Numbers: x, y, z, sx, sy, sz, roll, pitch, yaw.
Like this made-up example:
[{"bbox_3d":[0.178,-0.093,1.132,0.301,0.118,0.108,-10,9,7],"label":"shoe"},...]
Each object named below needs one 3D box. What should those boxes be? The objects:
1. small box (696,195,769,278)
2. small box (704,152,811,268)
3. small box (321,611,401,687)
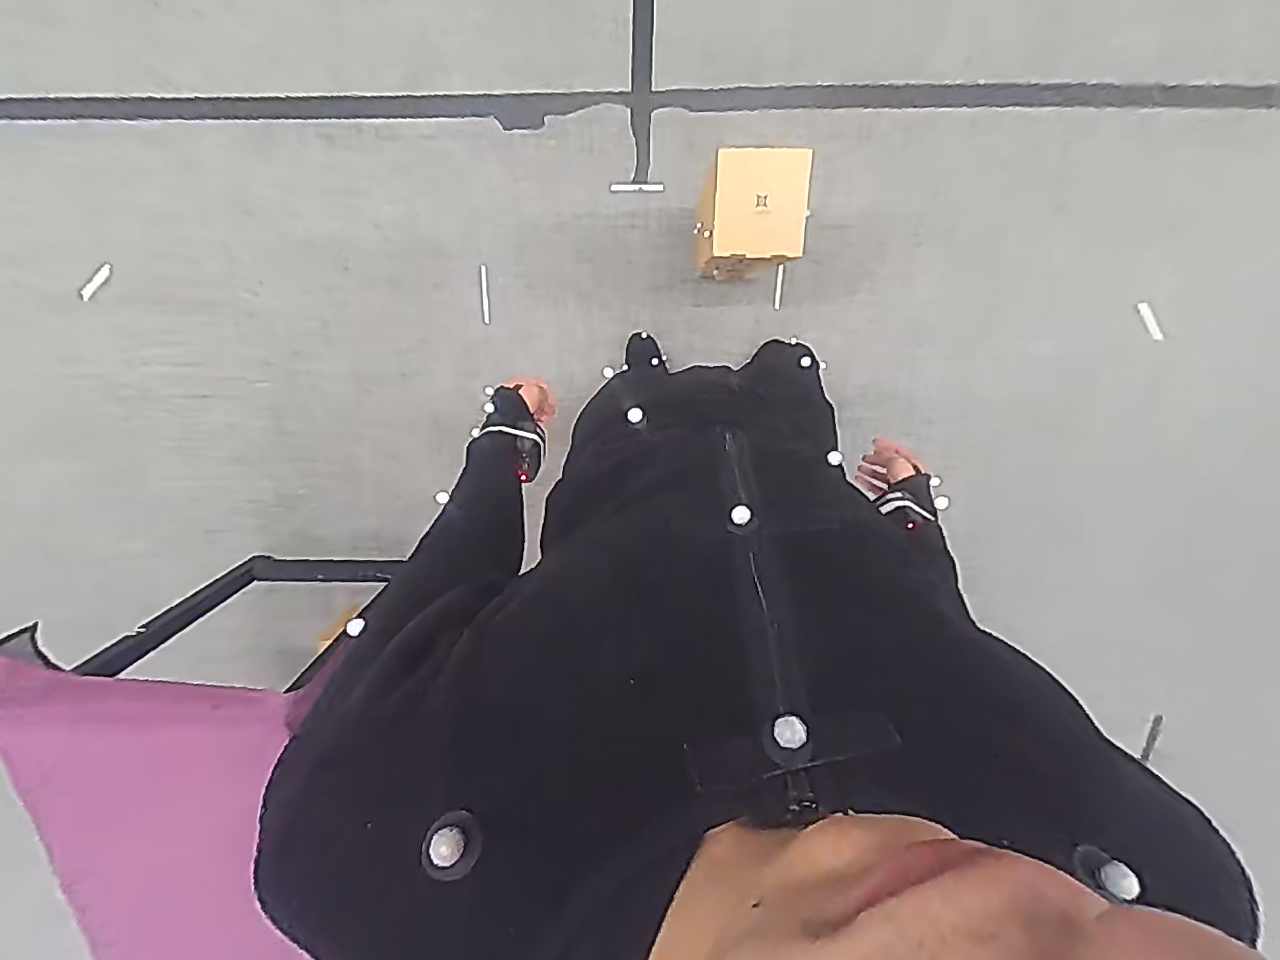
[{"bbox_3d":[0.228,-0.604,1.353,0.168,0.176,0.179,-2,109,2],"label":"small box"},{"bbox_3d":[0.216,-0.509,1.039,0.168,0.176,0.179,1,108,0],"label":"small box"},{"bbox_3d":[-0.901,0.546,1.763,0.168,0.176,0.179,2,109,2],"label":"small box"}]
